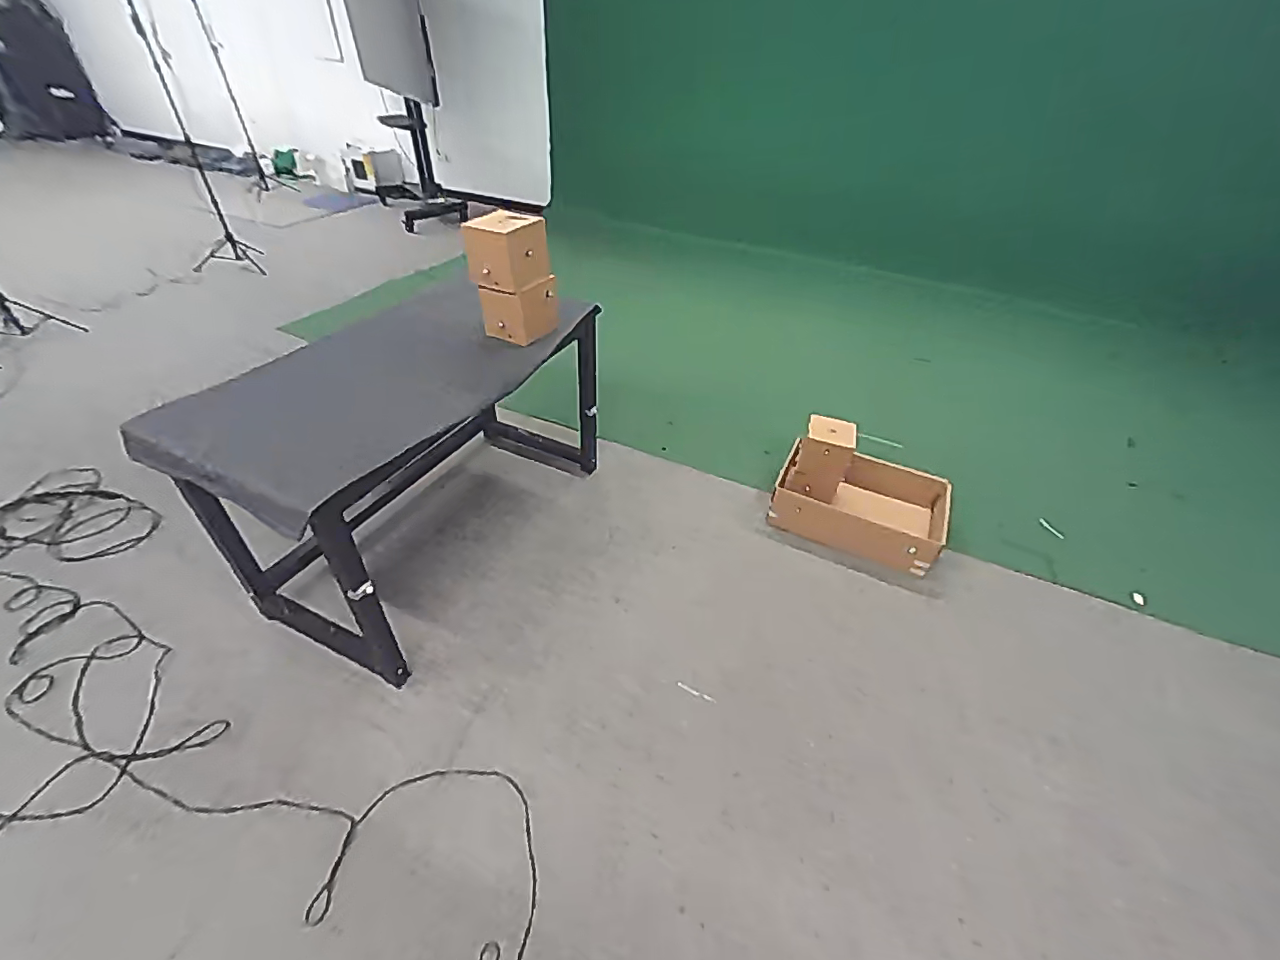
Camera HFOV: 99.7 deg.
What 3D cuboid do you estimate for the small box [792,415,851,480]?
[{"bbox_3d":[0.698,-0.122,2.084,0.179,0.176,0.168,16,43,10],"label":"small box"}]

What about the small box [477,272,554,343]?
[{"bbox_3d":[-0.382,-0.550,1.683,0.168,0.176,0.179,21,44,22],"label":"small box"}]

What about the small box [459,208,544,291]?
[{"bbox_3d":[-0.393,-0.672,1.572,0.168,0.176,0.179,20,44,21],"label":"small box"}]

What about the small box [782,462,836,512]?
[{"bbox_3d":[0.692,0.004,2.189,0.179,0.176,0.168,21,44,19],"label":"small box"}]
